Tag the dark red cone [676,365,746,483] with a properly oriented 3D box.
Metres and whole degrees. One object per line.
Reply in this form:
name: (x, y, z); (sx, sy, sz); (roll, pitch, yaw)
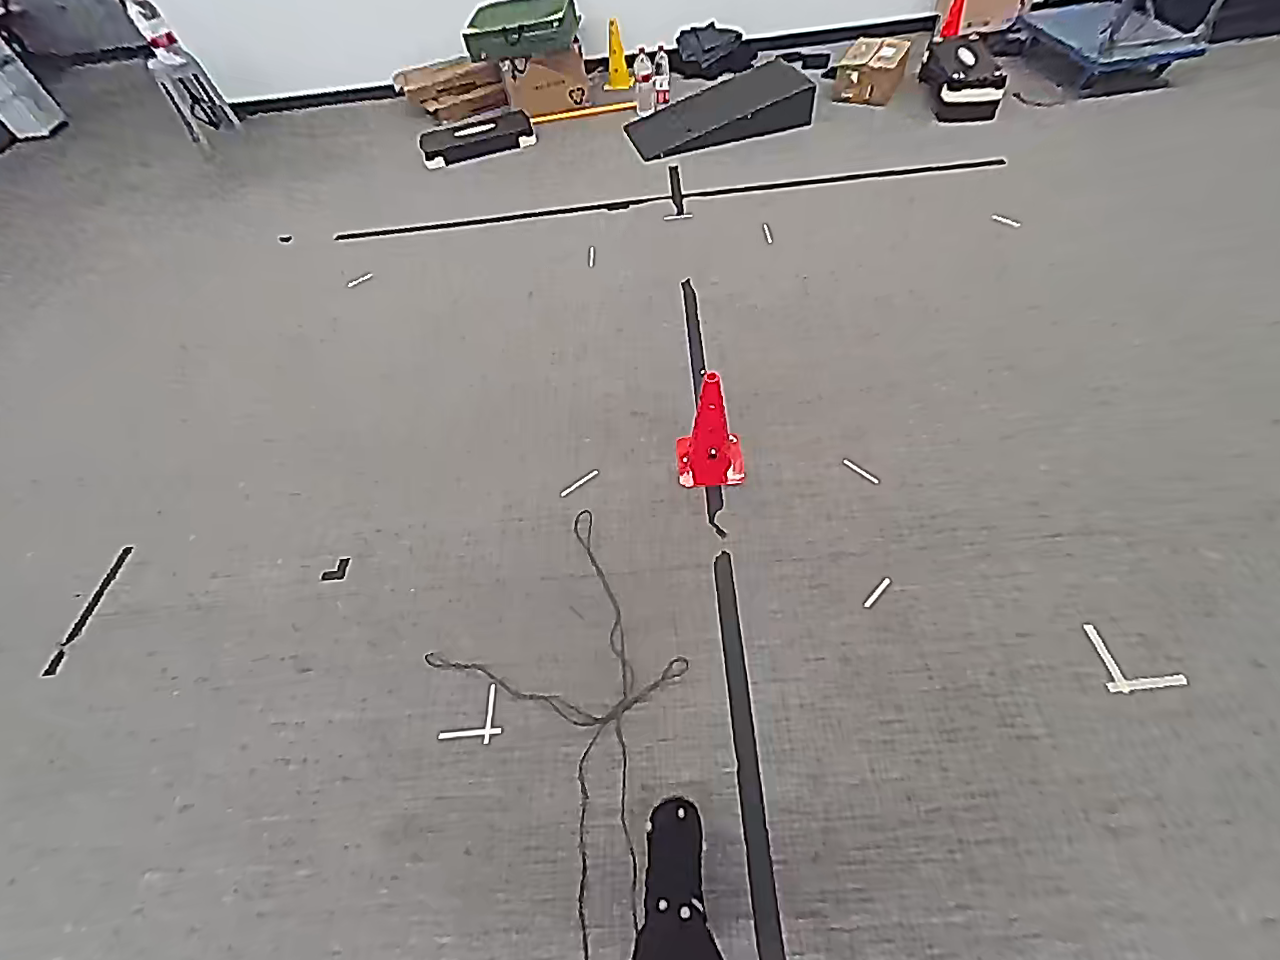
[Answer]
dark red cone: (0.199, -0.173, 1.541); (0.201, 0.394, 0.202); (-6, 54, 4)
